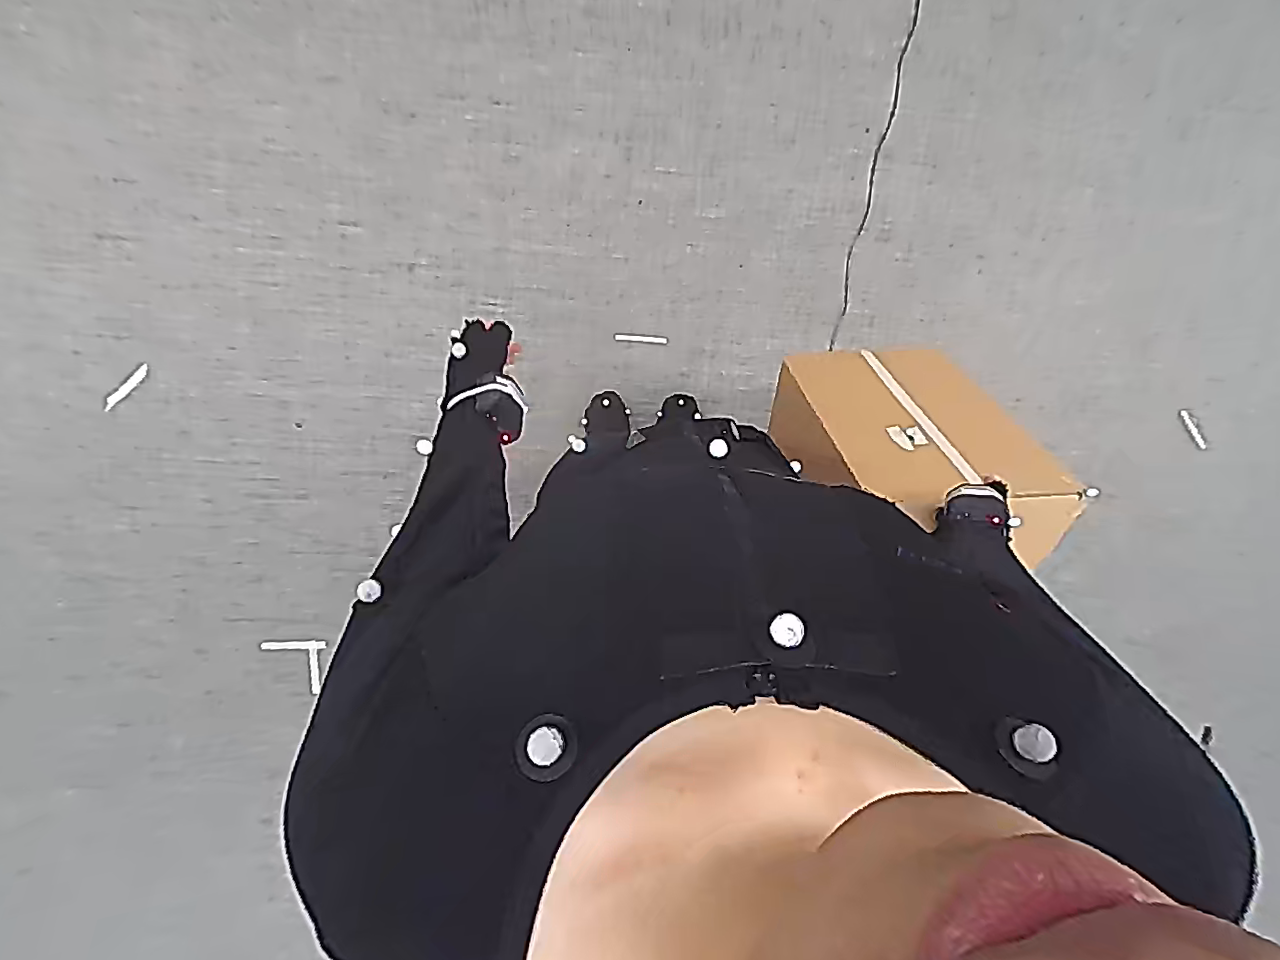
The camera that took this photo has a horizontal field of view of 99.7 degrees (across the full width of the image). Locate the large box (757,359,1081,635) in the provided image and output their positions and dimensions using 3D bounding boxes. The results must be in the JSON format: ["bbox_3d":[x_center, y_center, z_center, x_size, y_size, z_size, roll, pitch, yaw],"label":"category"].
[{"bbox_3d":[0.438,0.017,0.983,0.320,0.408,0.320,-4,133,-5],"label":"large box"}]
